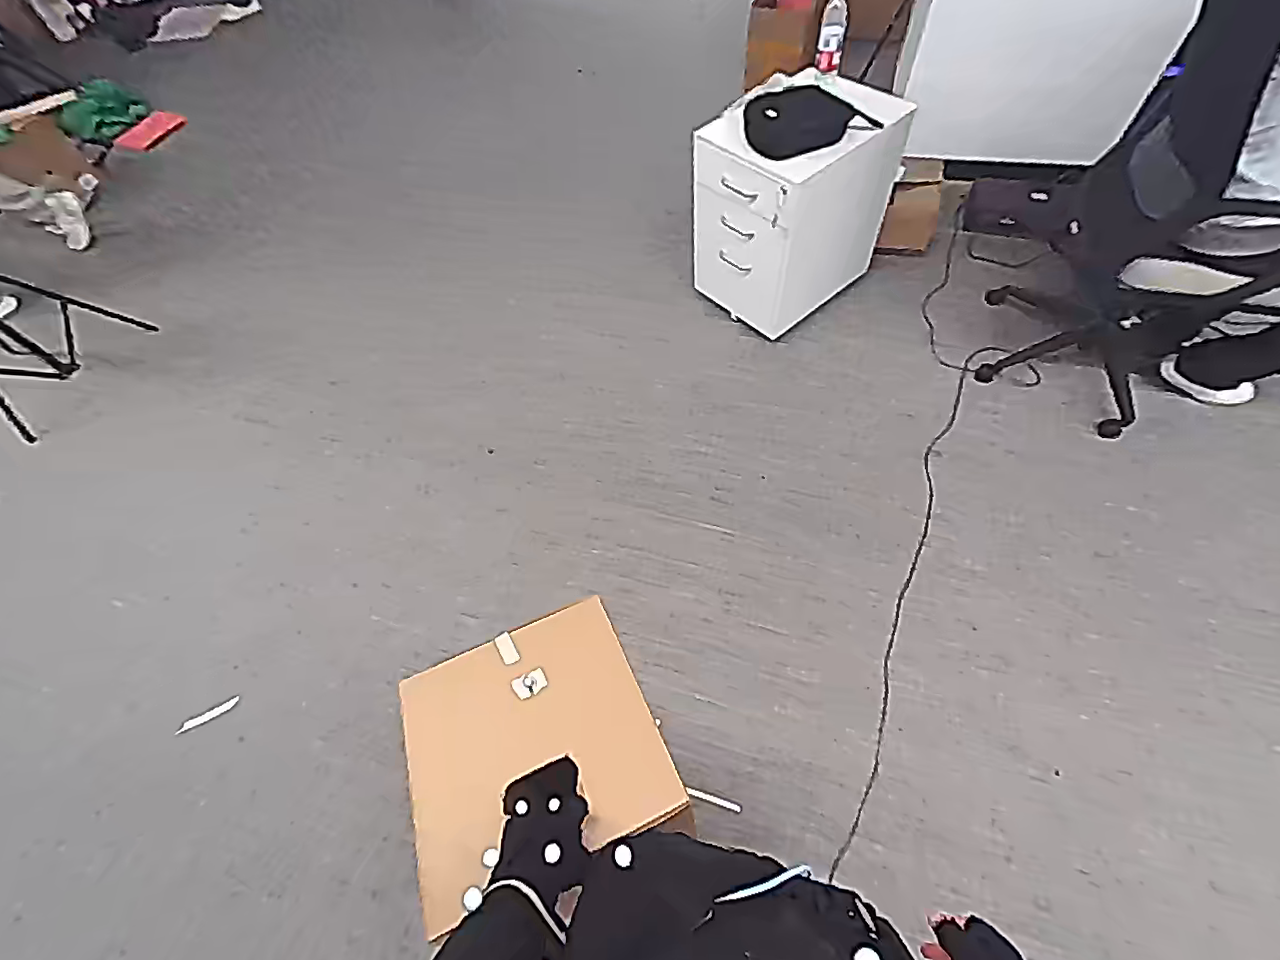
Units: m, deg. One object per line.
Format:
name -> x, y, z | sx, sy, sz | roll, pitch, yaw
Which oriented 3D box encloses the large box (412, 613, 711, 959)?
large box -> -0.106, 0.477, 0.842 | 0.320, 0.408, 0.320 | -22, 48, -10
